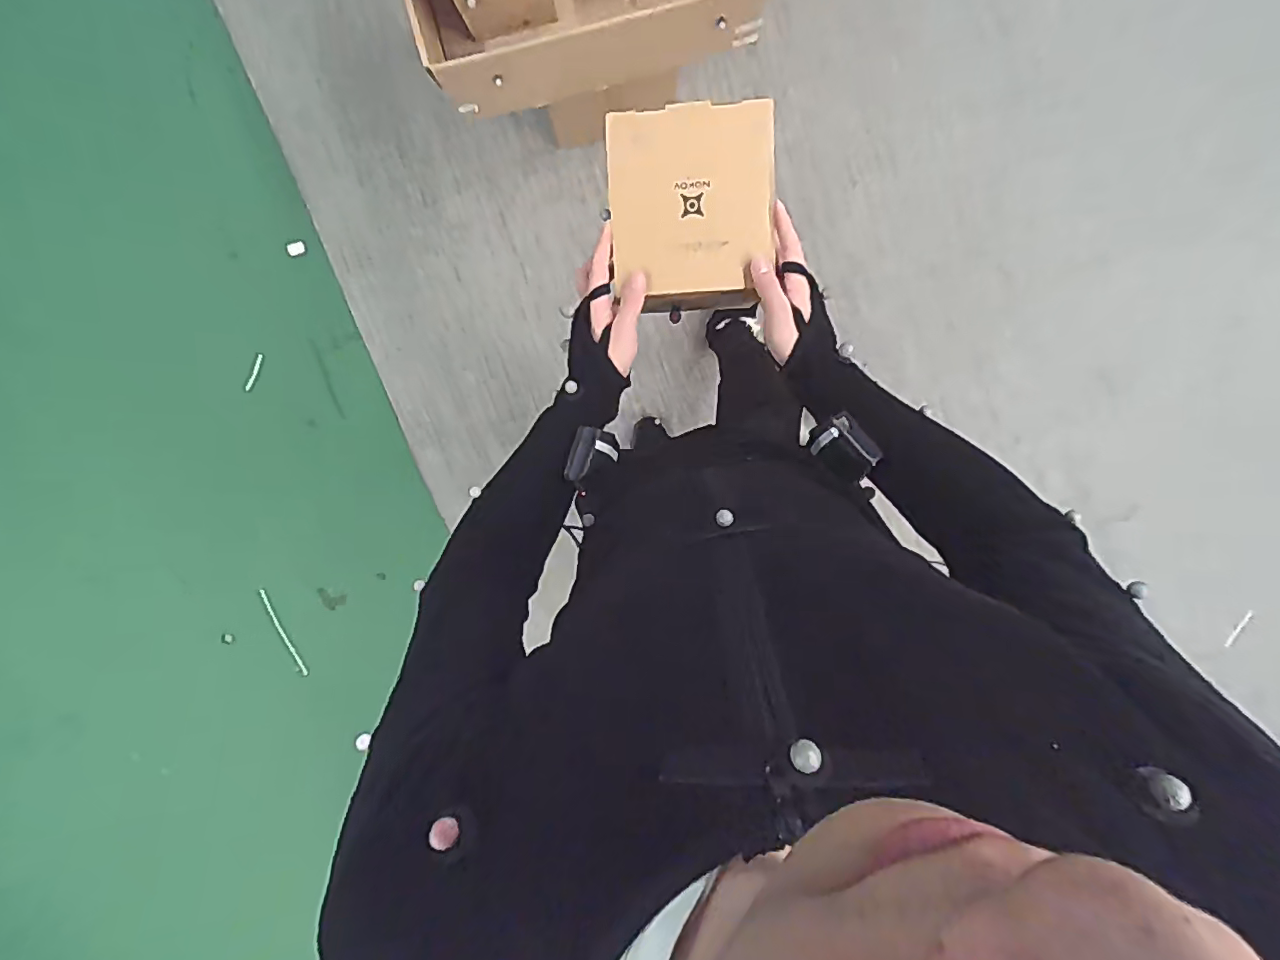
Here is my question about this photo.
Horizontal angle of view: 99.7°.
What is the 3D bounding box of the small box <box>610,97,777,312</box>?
[{"bbox_3d":[0.055,-0.296,0.616,0.168,0.176,0.179,-2,101,3],"label":"small box"}]
